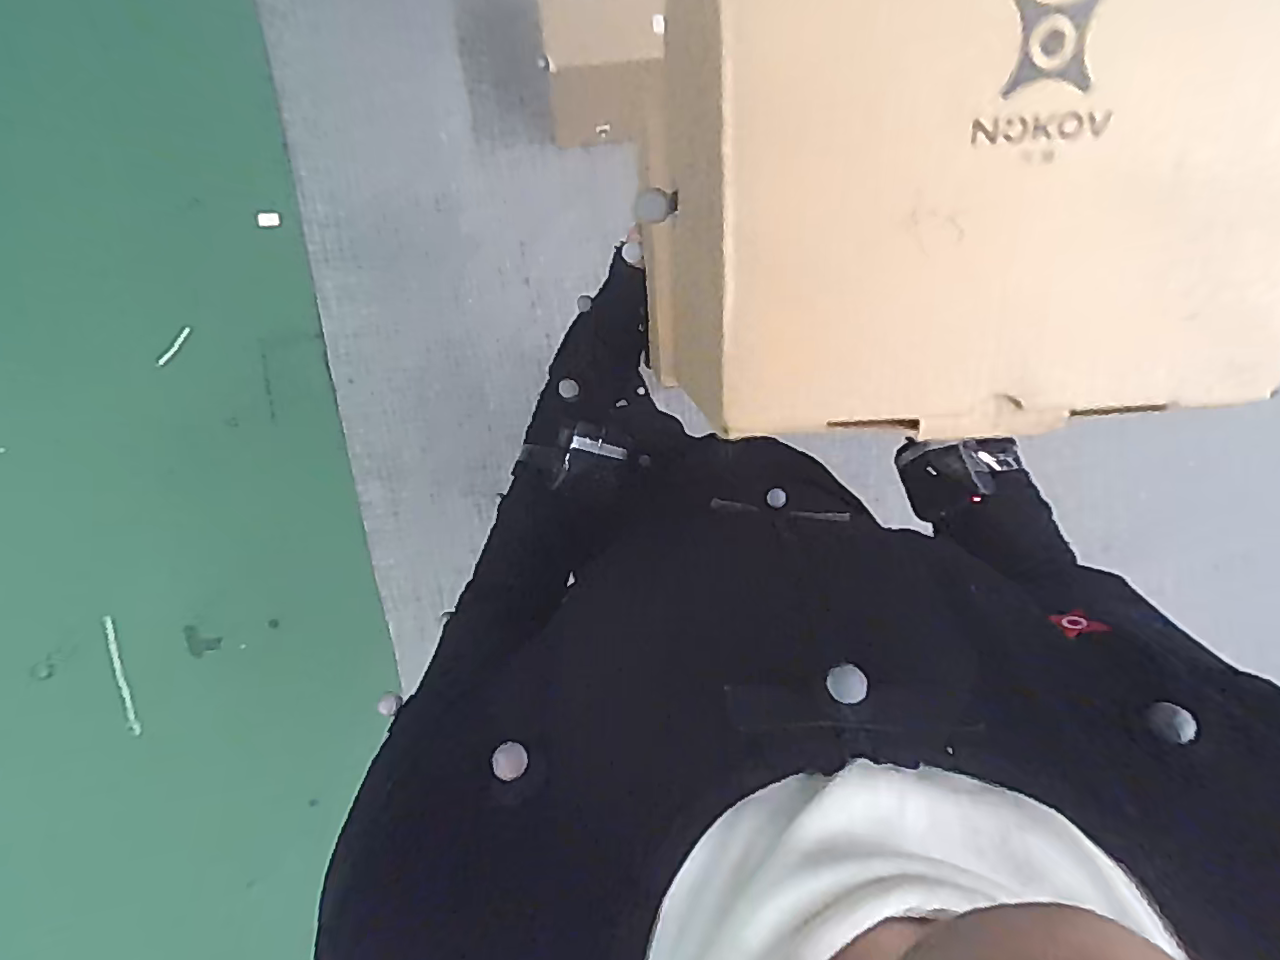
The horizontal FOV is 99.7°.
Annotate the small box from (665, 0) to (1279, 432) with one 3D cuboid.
[{"bbox_3d":[0.099,-0.127,0.222,0.168,0.176,0.179,-3,109,-1],"label":"small box"}]
